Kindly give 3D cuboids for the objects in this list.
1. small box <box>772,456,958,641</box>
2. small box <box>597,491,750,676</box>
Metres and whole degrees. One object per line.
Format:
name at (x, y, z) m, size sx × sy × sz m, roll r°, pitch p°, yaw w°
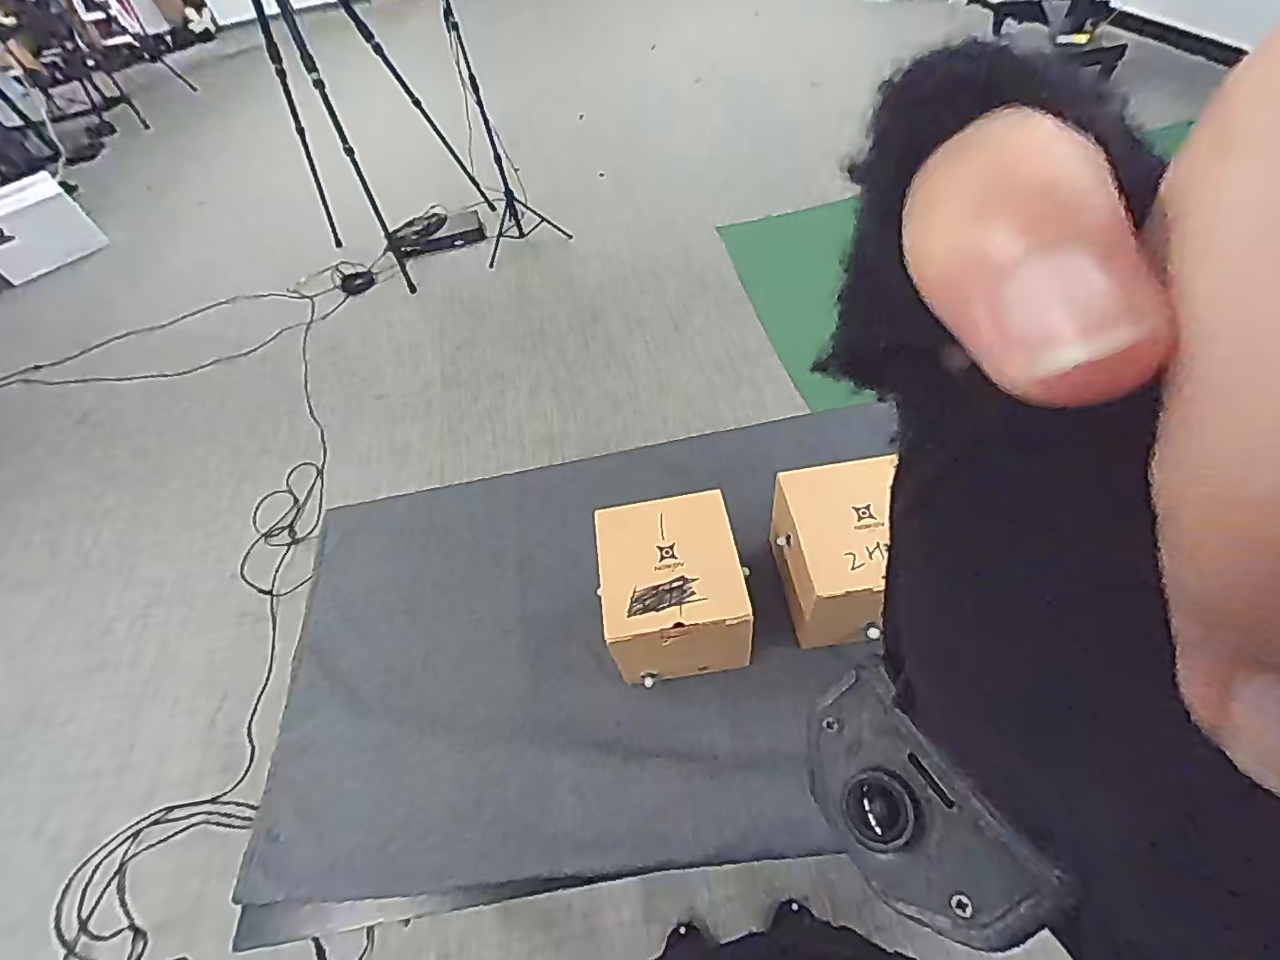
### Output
small box at (0.271, 0.093, 0.703) m, size 0.168 × 0.176 × 0.179 m, roll -7°, pitch 56°, yaw 6°
small box at (0.045, 0.142, 0.702) m, size 0.168 × 0.176 × 0.179 m, roll -10°, pitch 52°, yaw 2°
